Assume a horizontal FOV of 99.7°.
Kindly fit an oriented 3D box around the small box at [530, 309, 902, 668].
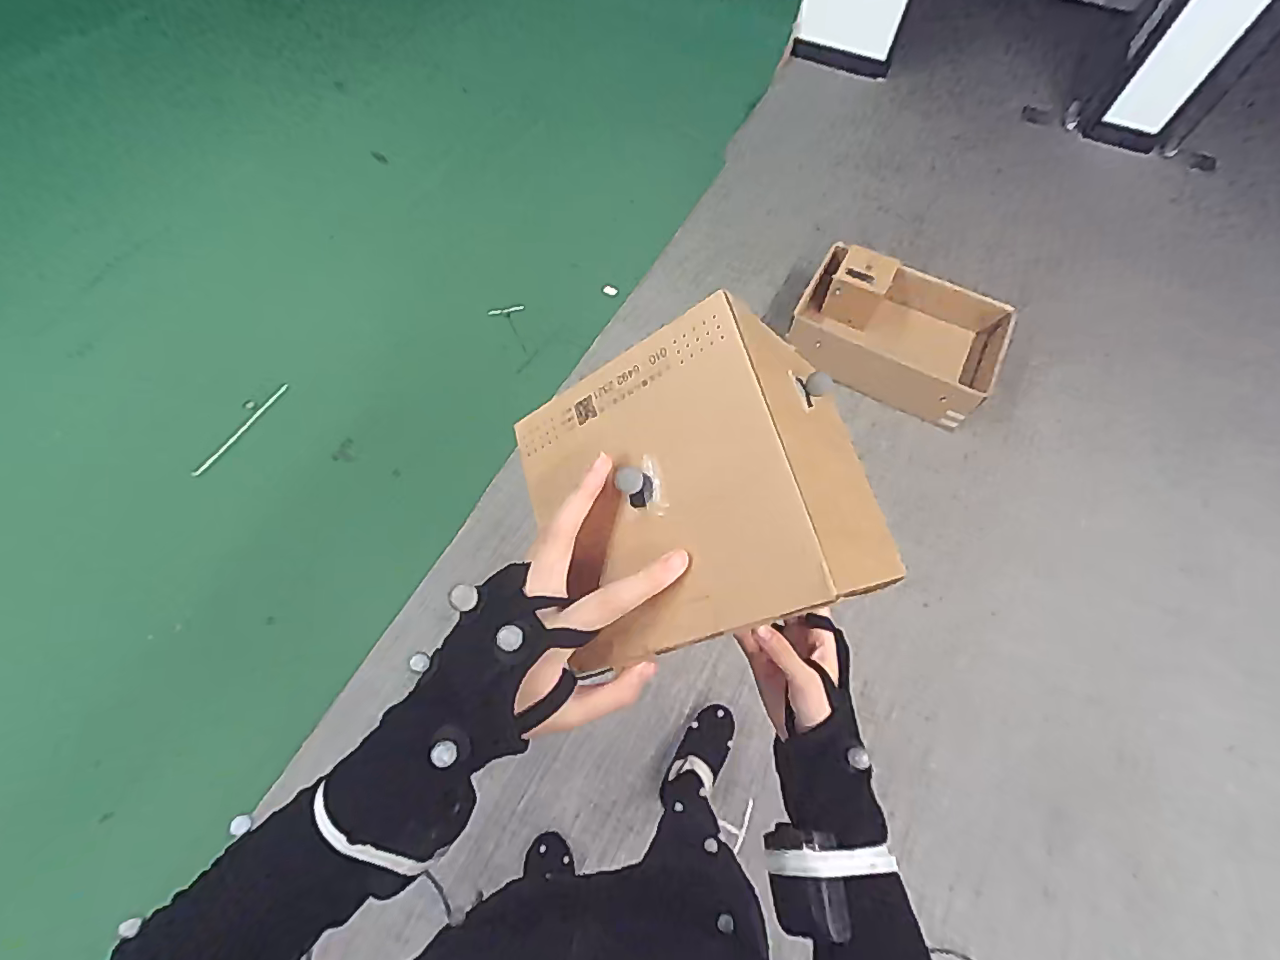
[{"bbox_3d":[0.049,0.012,0.366,0.168,0.179,0.176,-25,70,30],"label":"small box"}]
